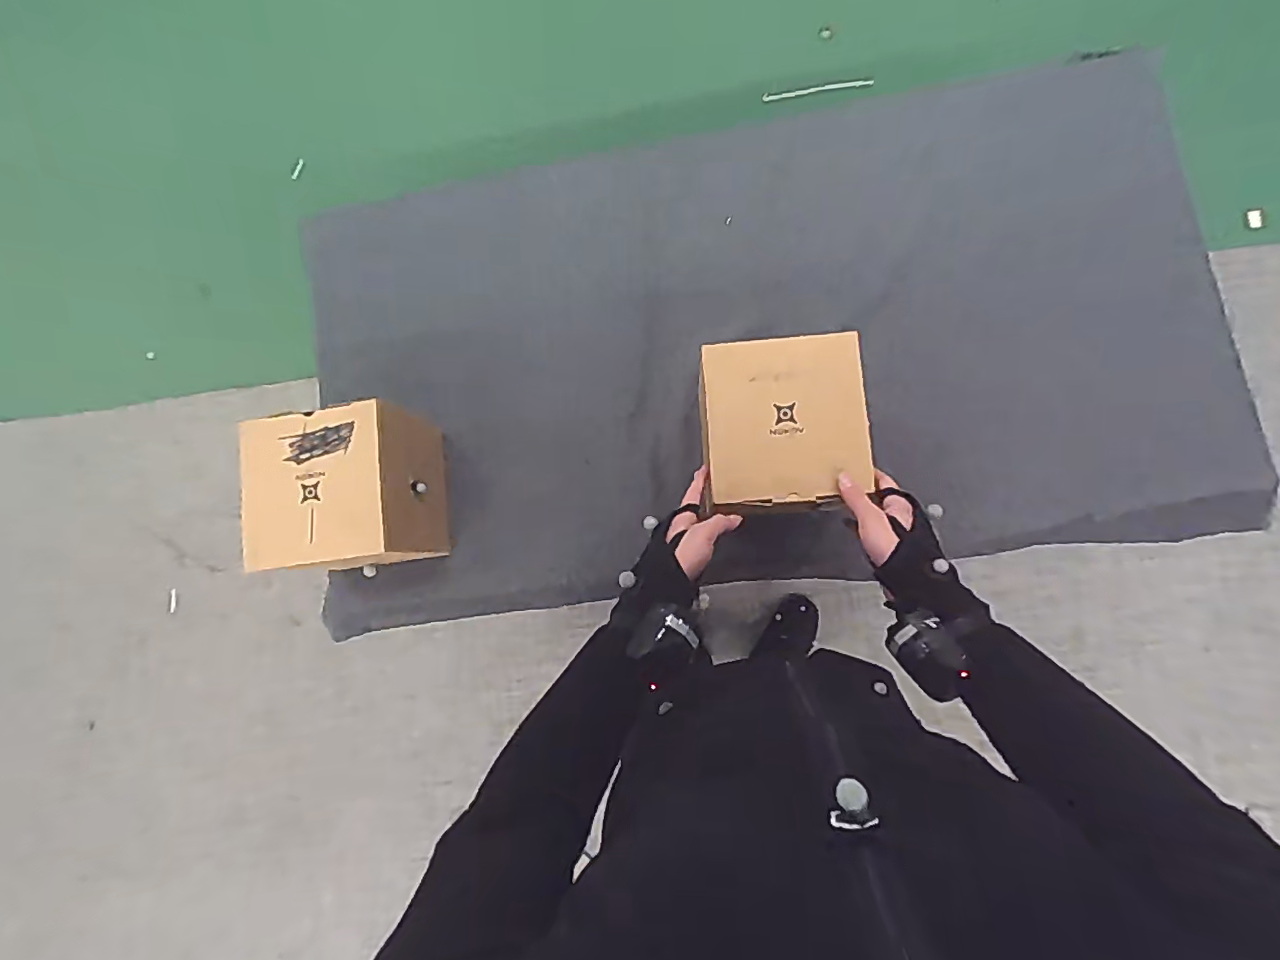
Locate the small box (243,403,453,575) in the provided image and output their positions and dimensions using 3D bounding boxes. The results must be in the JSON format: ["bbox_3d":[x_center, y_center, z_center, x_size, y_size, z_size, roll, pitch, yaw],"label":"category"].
[{"bbox_3d":[-0.348,0.022,0.670,0.168,0.176,0.179,-8,80,5],"label":"small box"}]

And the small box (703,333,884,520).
[{"bbox_3d":[0.162,-0.048,0.630,0.168,0.176,0.179,-5,79,4],"label":"small box"}]
